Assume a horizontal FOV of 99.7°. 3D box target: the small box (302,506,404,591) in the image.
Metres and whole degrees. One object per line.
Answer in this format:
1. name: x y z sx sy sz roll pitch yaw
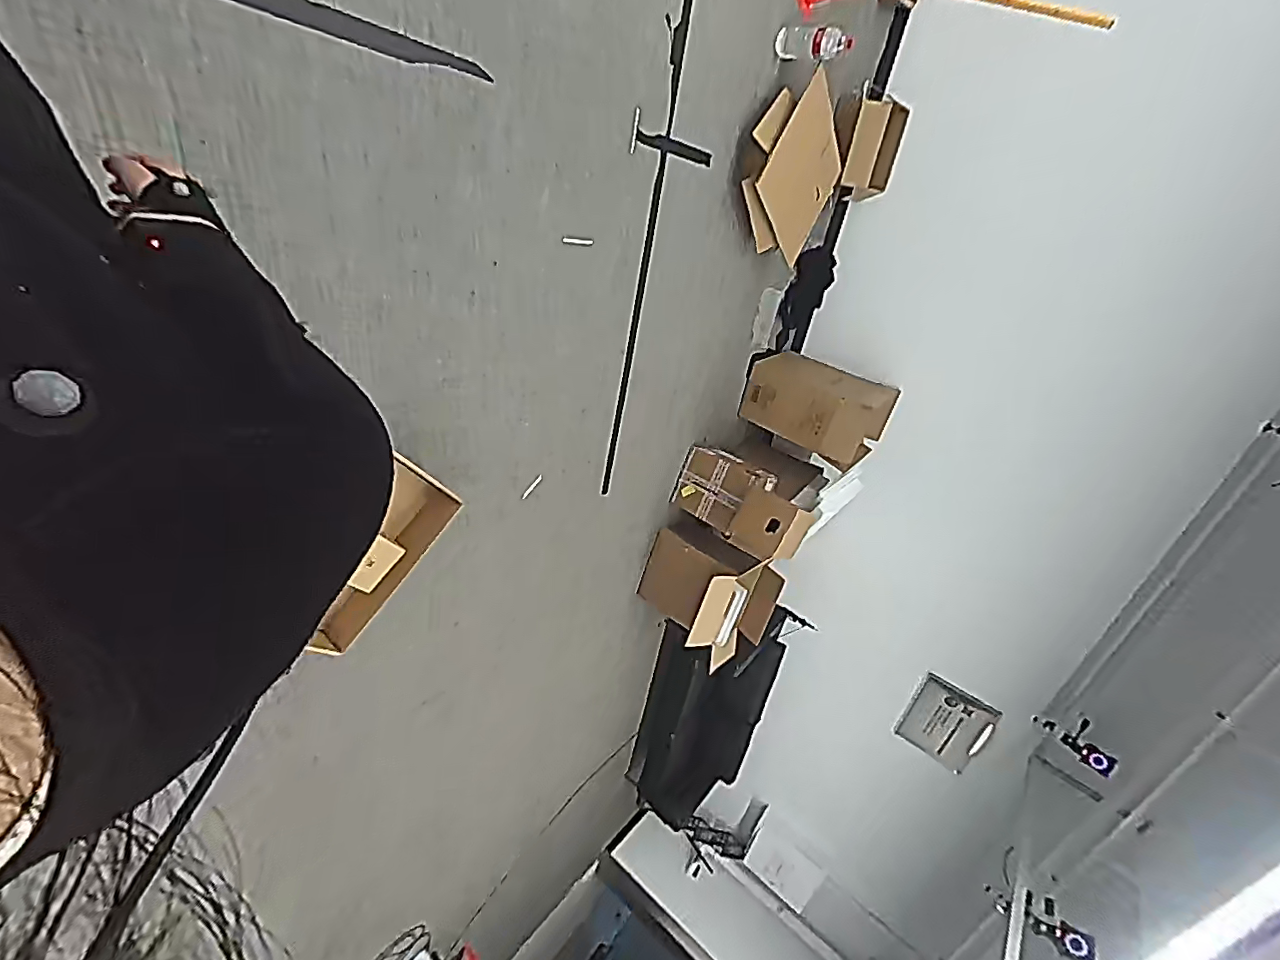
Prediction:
1. small box: -0.869 0.205 1.638 0.168 0.176 0.179 -53 150 -16
